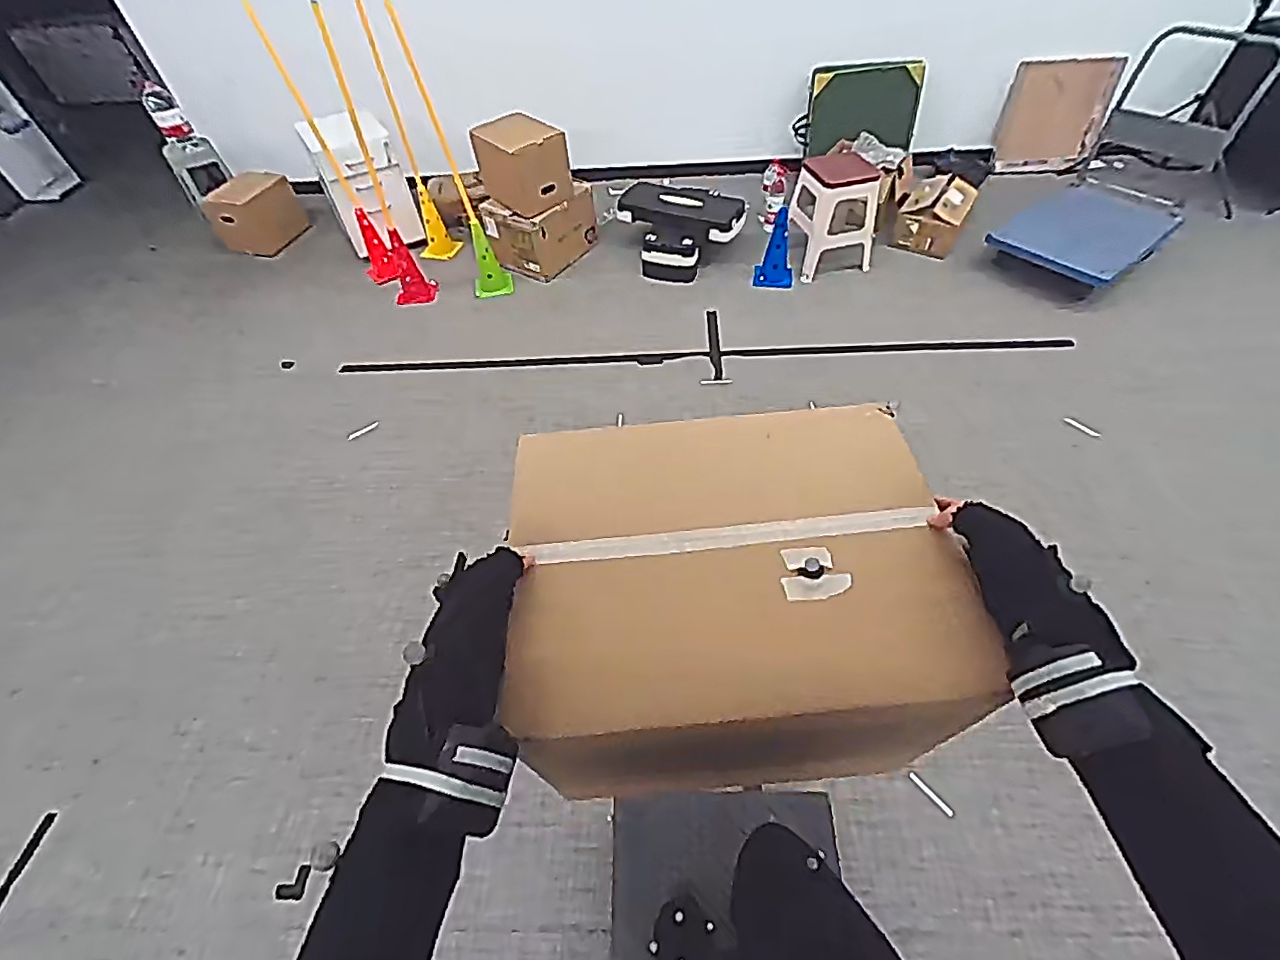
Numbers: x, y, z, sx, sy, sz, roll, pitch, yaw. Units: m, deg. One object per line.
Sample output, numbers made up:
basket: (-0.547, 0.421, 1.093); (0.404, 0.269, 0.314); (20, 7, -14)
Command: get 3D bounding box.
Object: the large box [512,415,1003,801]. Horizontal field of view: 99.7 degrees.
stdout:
large box: (0.089, 0.157, 0.634); (0.408, 0.320, 0.320); (-6, 52, 0)
